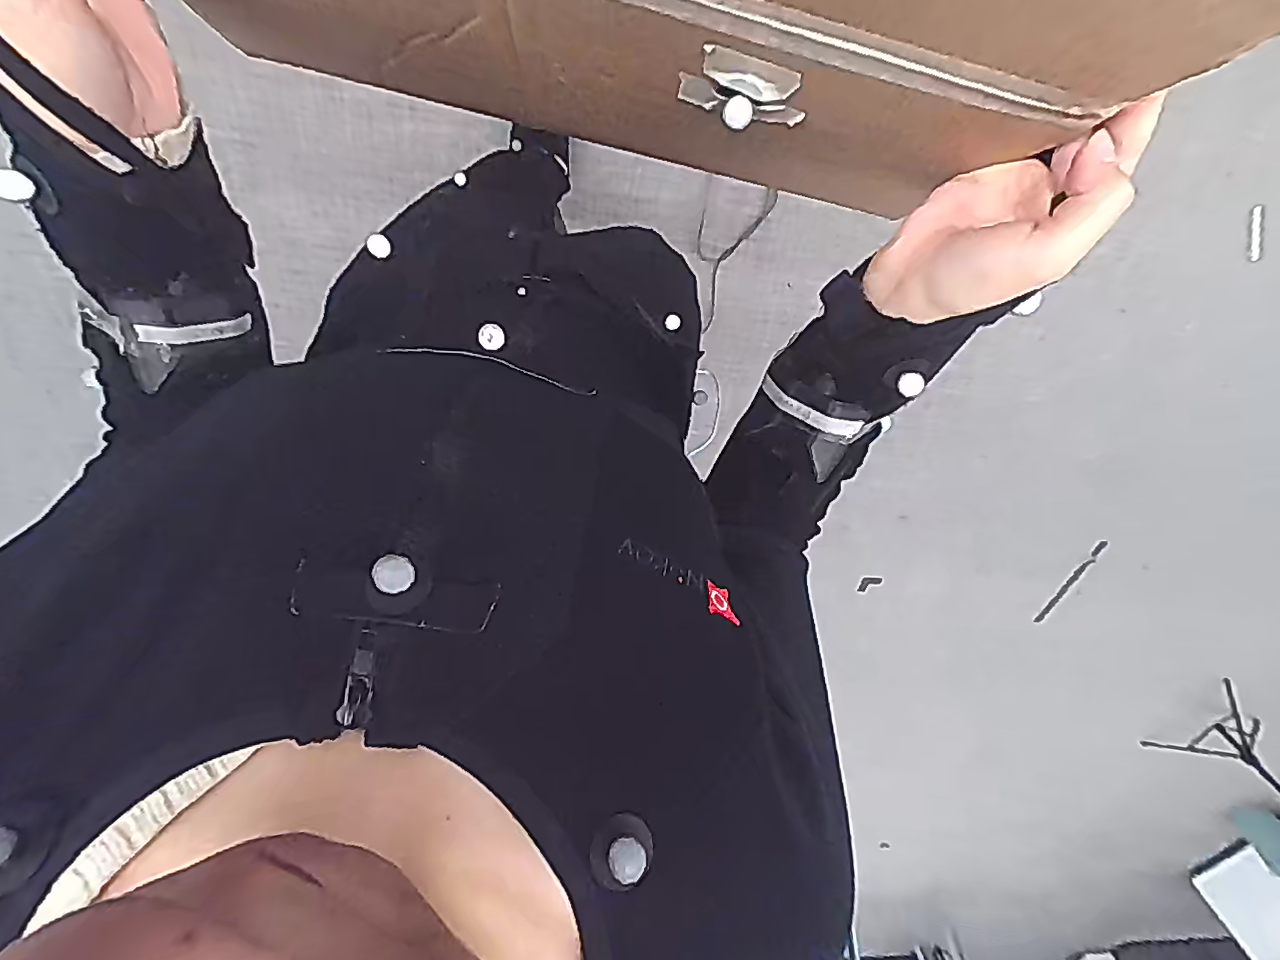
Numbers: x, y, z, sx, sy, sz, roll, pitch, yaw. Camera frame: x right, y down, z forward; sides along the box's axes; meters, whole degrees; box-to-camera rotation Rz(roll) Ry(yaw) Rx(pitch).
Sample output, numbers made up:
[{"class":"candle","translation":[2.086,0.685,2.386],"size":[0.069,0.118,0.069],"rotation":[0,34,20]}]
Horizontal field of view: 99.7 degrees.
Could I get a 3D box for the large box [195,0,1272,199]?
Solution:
[{"class":"large box","translation":[0.009,-0.330,0.157],"size":[0.408,0.320,0.320],"rotation":[9,102,-7]}]
